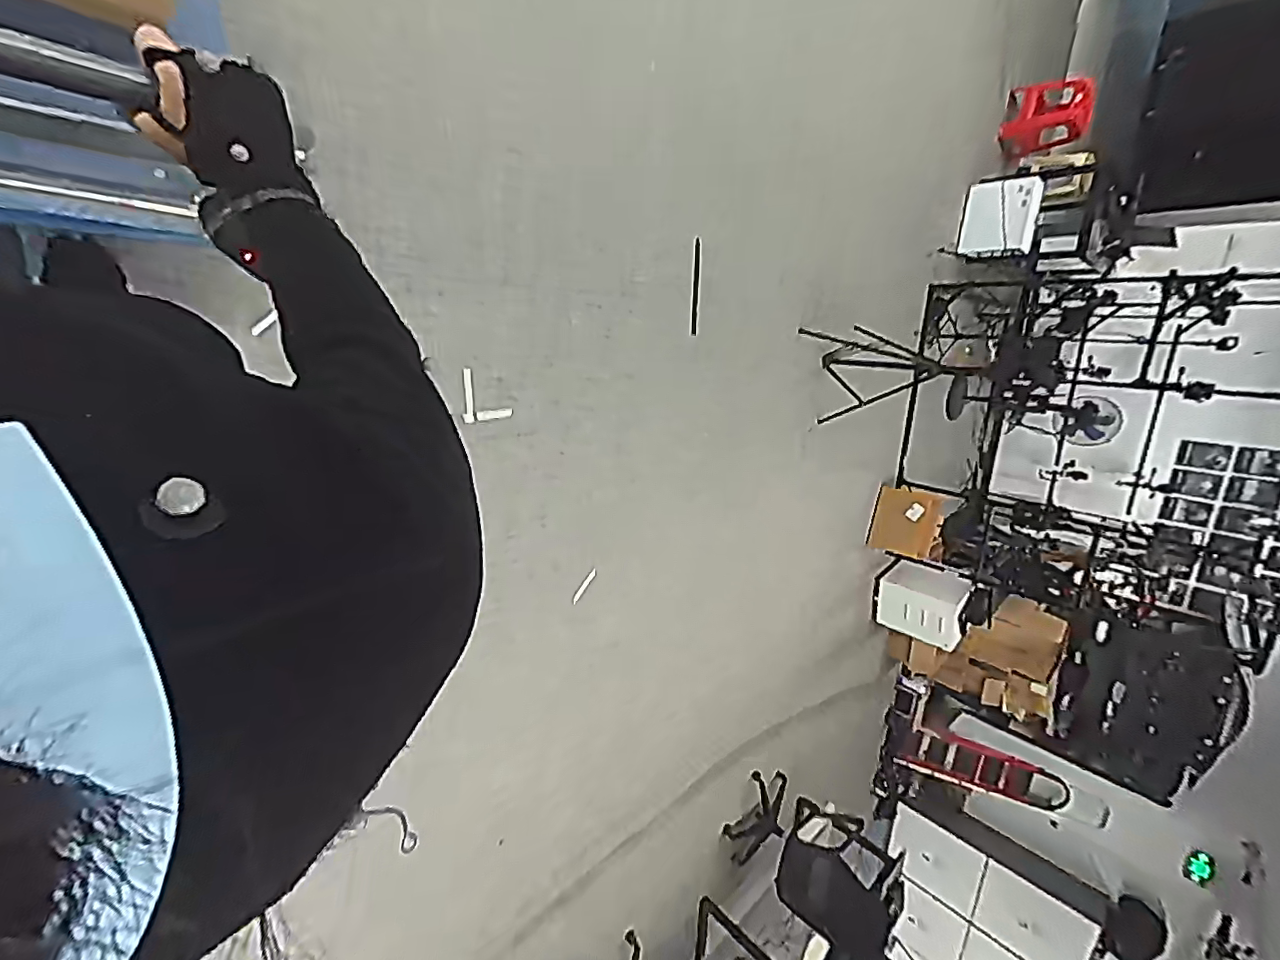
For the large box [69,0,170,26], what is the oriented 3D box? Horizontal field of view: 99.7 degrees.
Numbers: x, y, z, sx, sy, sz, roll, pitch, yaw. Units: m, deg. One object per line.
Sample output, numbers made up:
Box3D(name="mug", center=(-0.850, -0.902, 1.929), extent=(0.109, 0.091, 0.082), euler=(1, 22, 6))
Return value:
Box3D(name="large box", center=(-0.835, -0.839, 0.634), extent=(0.408, 0.320, 0.320), euler=(-9, 108, -42))
